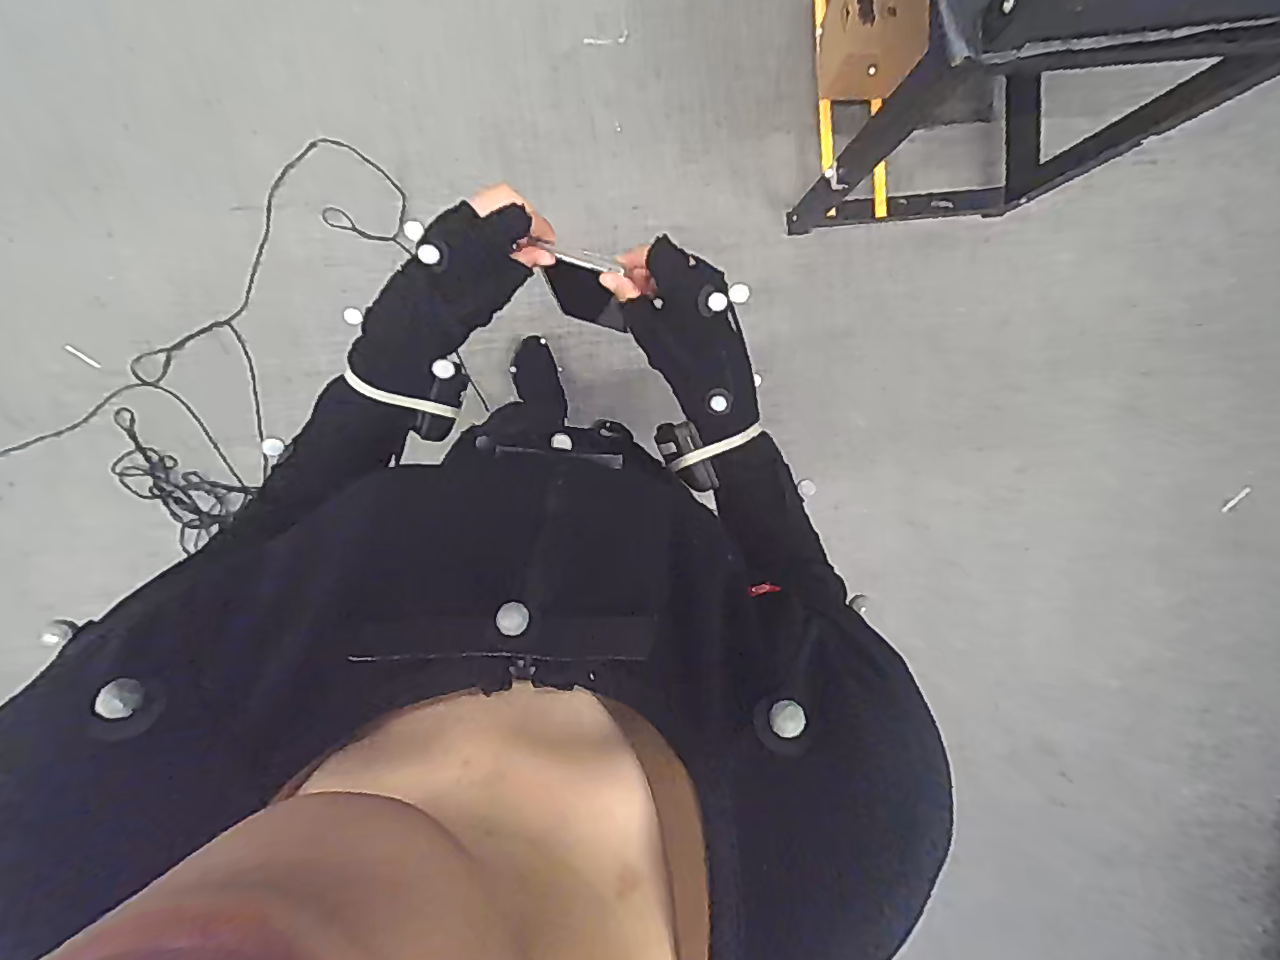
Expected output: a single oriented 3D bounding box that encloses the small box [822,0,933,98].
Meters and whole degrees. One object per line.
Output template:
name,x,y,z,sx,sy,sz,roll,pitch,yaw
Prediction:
small box,0.508,-0.965,1.177,0.179,0.176,0.168,-2,98,-1
